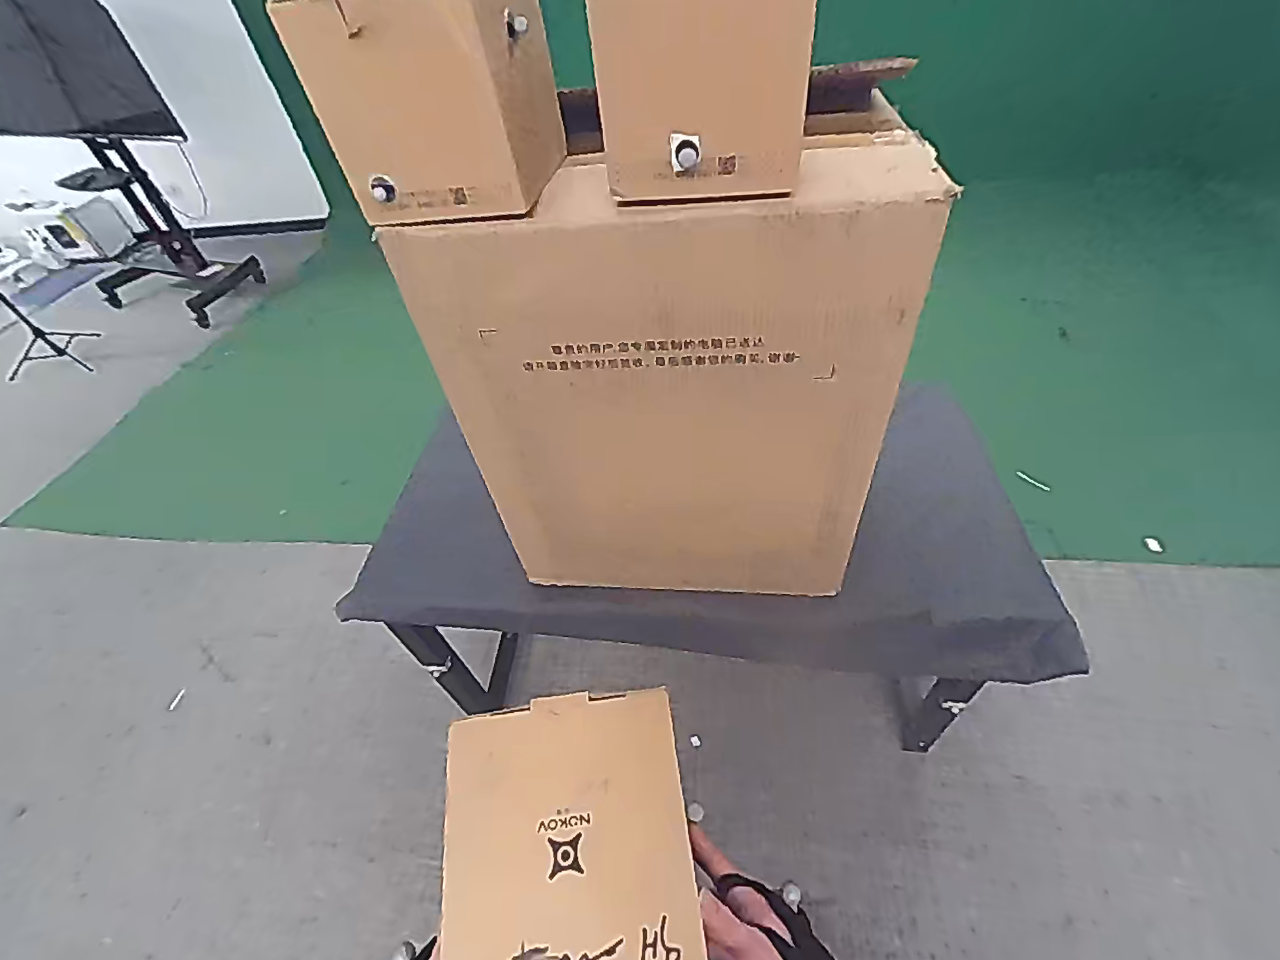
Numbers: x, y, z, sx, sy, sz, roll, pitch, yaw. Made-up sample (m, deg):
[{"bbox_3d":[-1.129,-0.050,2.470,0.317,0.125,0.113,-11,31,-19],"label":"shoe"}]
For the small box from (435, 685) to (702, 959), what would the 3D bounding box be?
[{"bbox_3d":[-0.048,0.281,0.435,0.168,0.176,0.179,-8,59,0],"label":"small box"}]

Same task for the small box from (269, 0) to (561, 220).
[{"bbox_3d":[-0.184,-0.360,0.511,0.168,0.176,0.179,1,47,10],"label":"small box"}]

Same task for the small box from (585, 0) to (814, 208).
[{"bbox_3d":[0.054,-0.361,0.476,0.168,0.176,0.179,0,48,9],"label":"small box"}]
